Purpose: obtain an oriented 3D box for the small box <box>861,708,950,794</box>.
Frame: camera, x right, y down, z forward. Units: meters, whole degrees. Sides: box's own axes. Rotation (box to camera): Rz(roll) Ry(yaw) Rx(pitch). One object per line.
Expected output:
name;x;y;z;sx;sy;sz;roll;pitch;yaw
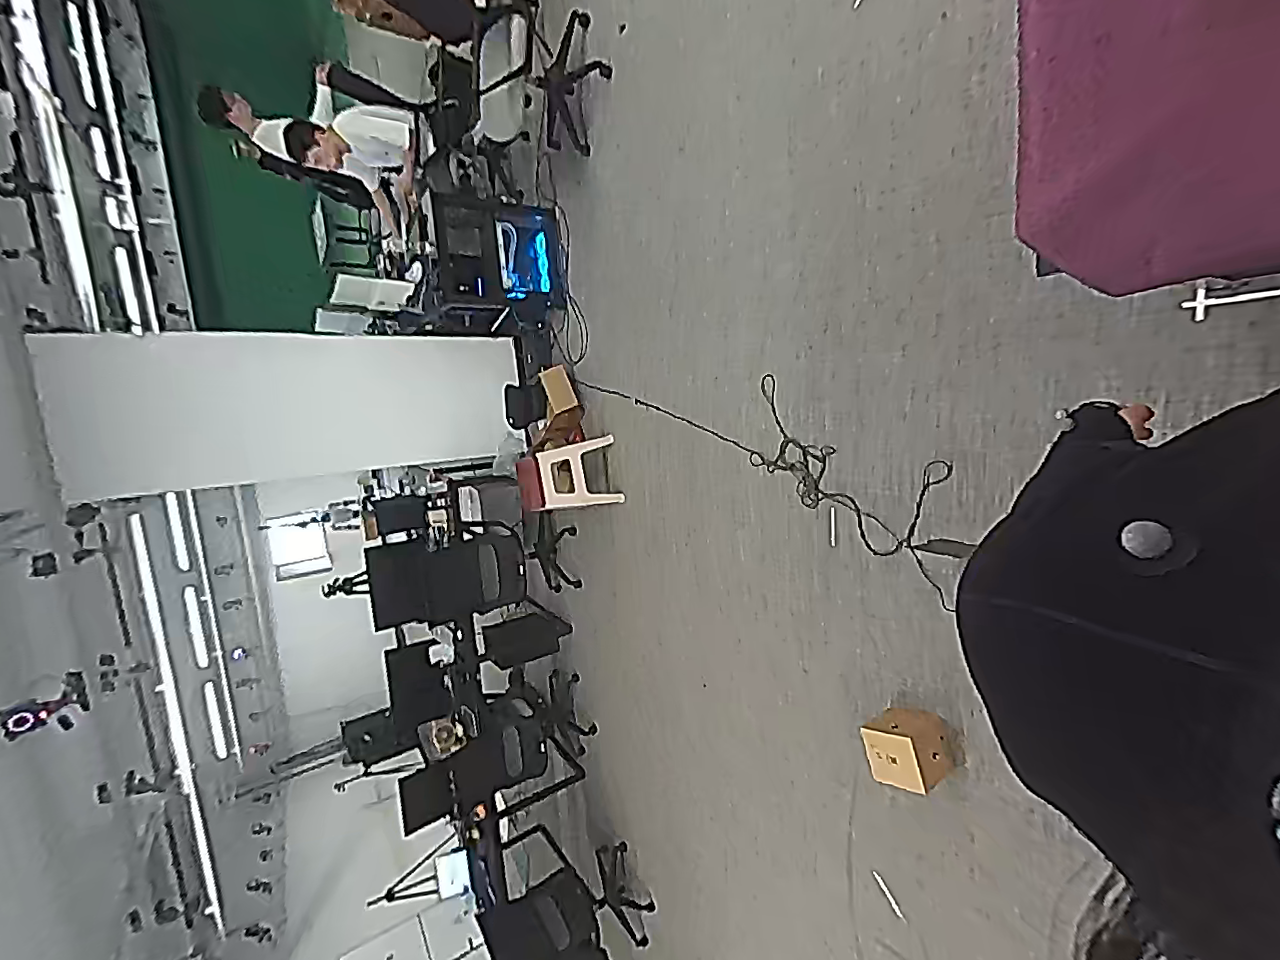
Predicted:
small box;0.821;0.821;1.659;0.179;0.176;0.168;-21;81;57
